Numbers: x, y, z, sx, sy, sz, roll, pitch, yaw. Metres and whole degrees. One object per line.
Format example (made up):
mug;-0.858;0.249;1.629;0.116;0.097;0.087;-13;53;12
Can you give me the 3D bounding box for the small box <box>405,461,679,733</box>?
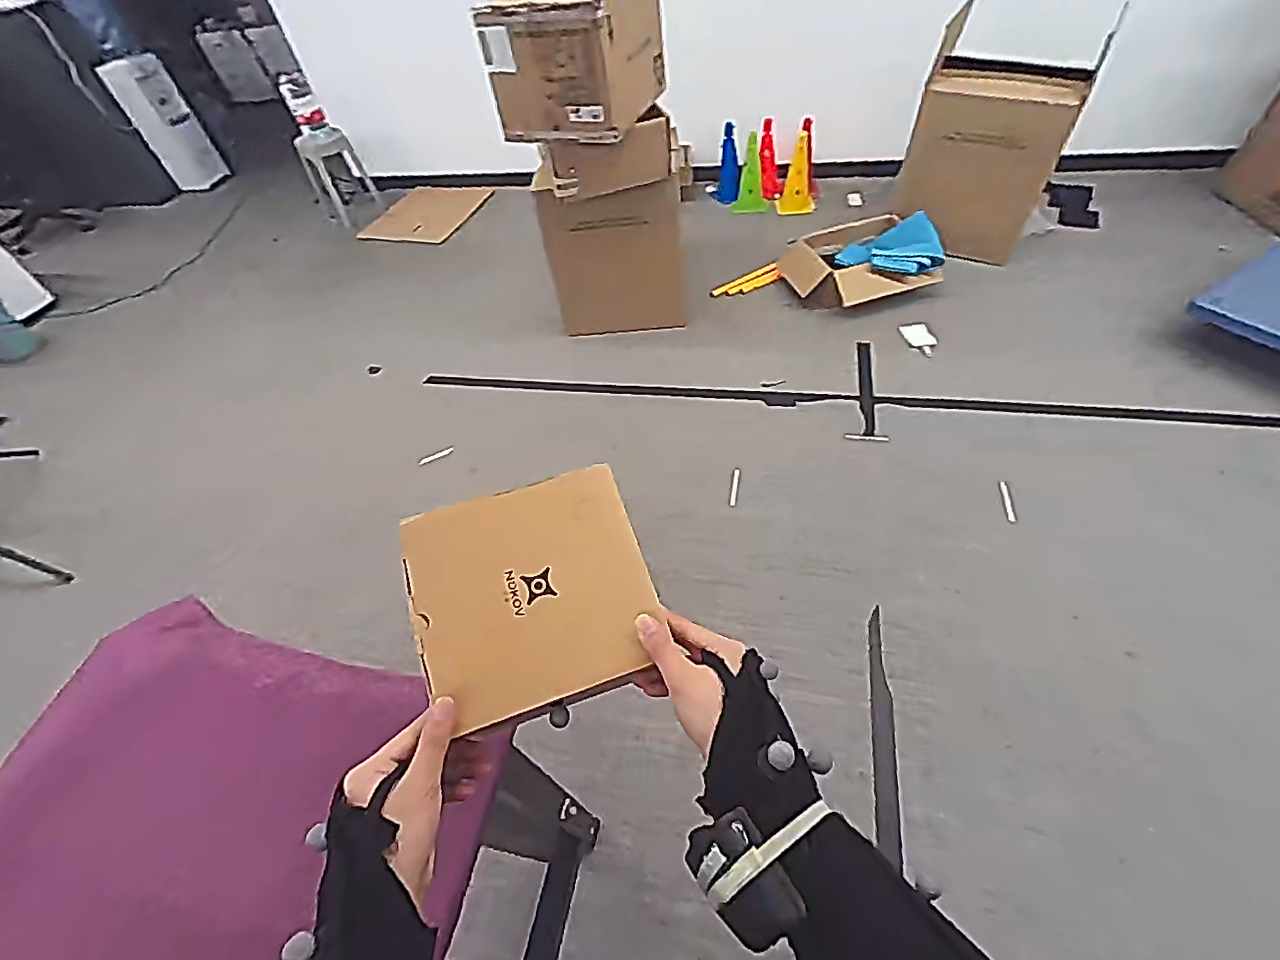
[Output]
small box;-0.082;0.108;0.482;0.179;0.176;0.168;-17;69;-10
